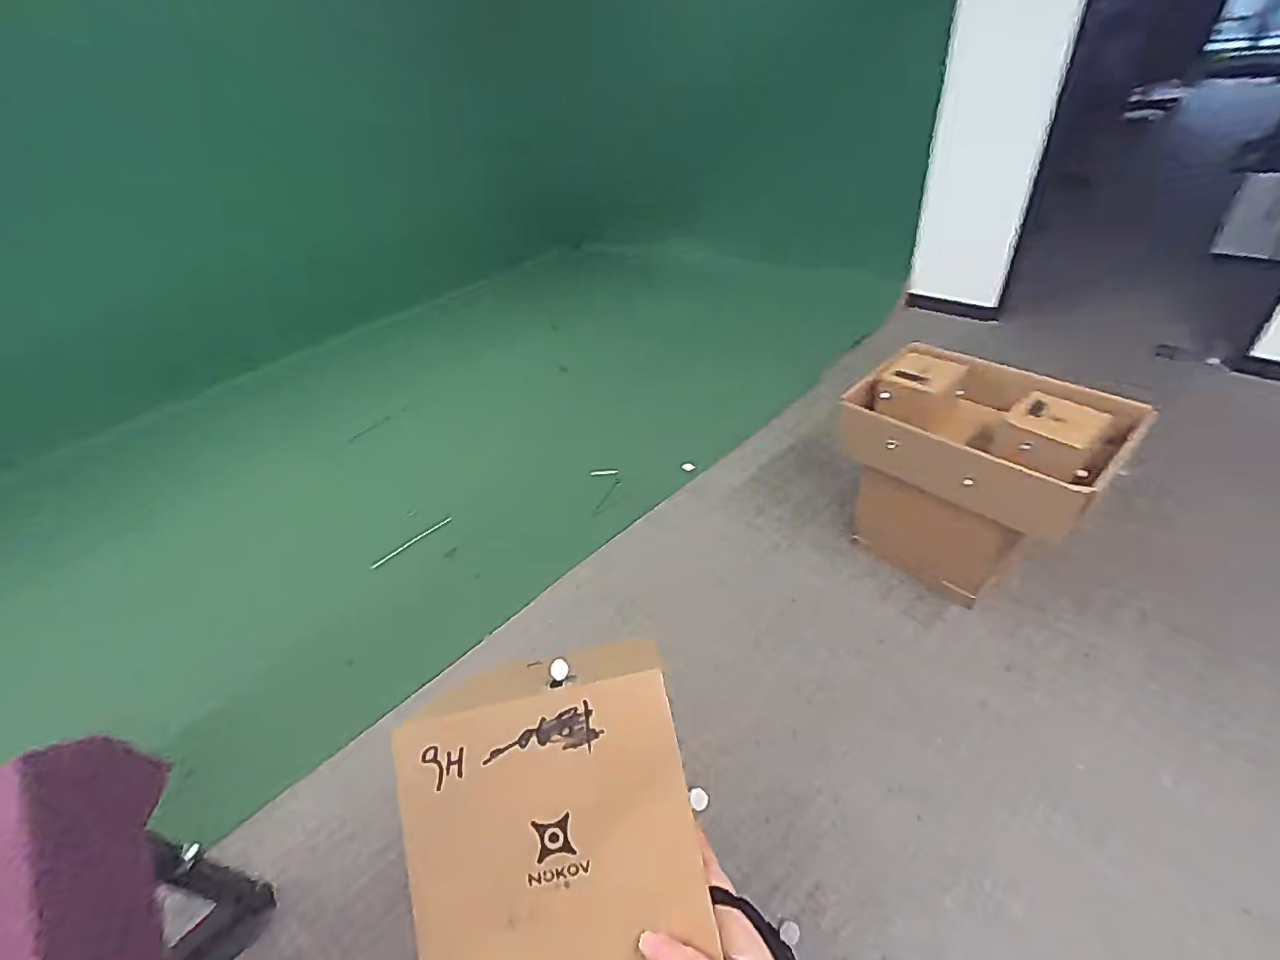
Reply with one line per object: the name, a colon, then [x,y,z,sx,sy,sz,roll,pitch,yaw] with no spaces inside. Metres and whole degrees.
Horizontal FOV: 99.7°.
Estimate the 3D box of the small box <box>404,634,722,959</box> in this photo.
small box: [-0.047,0.223,0.393,0.168,0.176,0.179,-11,81,-3]
